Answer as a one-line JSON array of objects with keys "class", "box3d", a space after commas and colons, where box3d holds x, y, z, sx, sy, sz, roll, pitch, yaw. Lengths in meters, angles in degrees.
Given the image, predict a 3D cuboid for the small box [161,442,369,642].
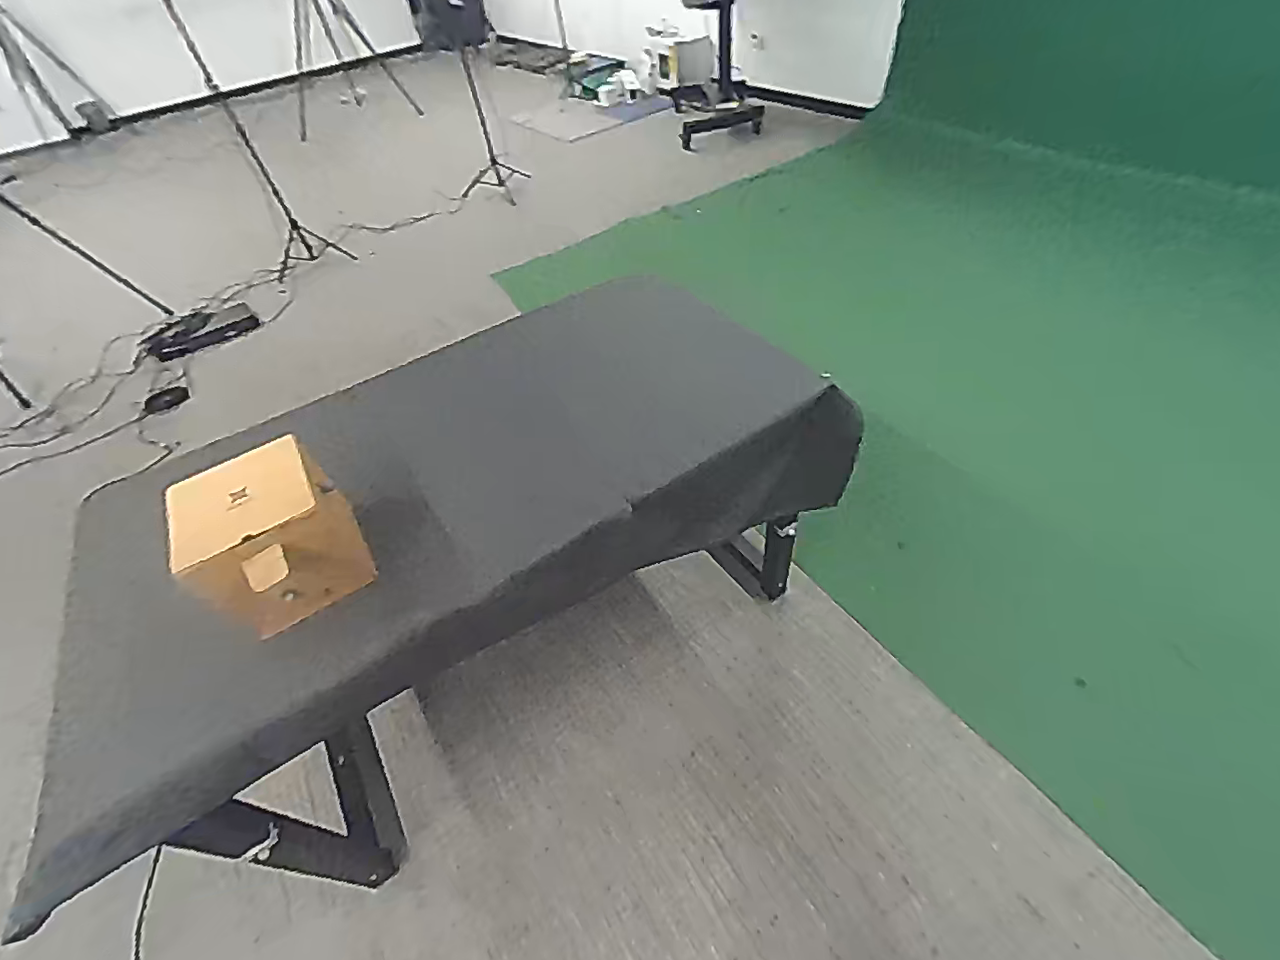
[{"class": "small box", "box3d": [-0.507, 0.085, 0.743, 0.168, 0.176, 0.179, -30, 51, -19]}]
